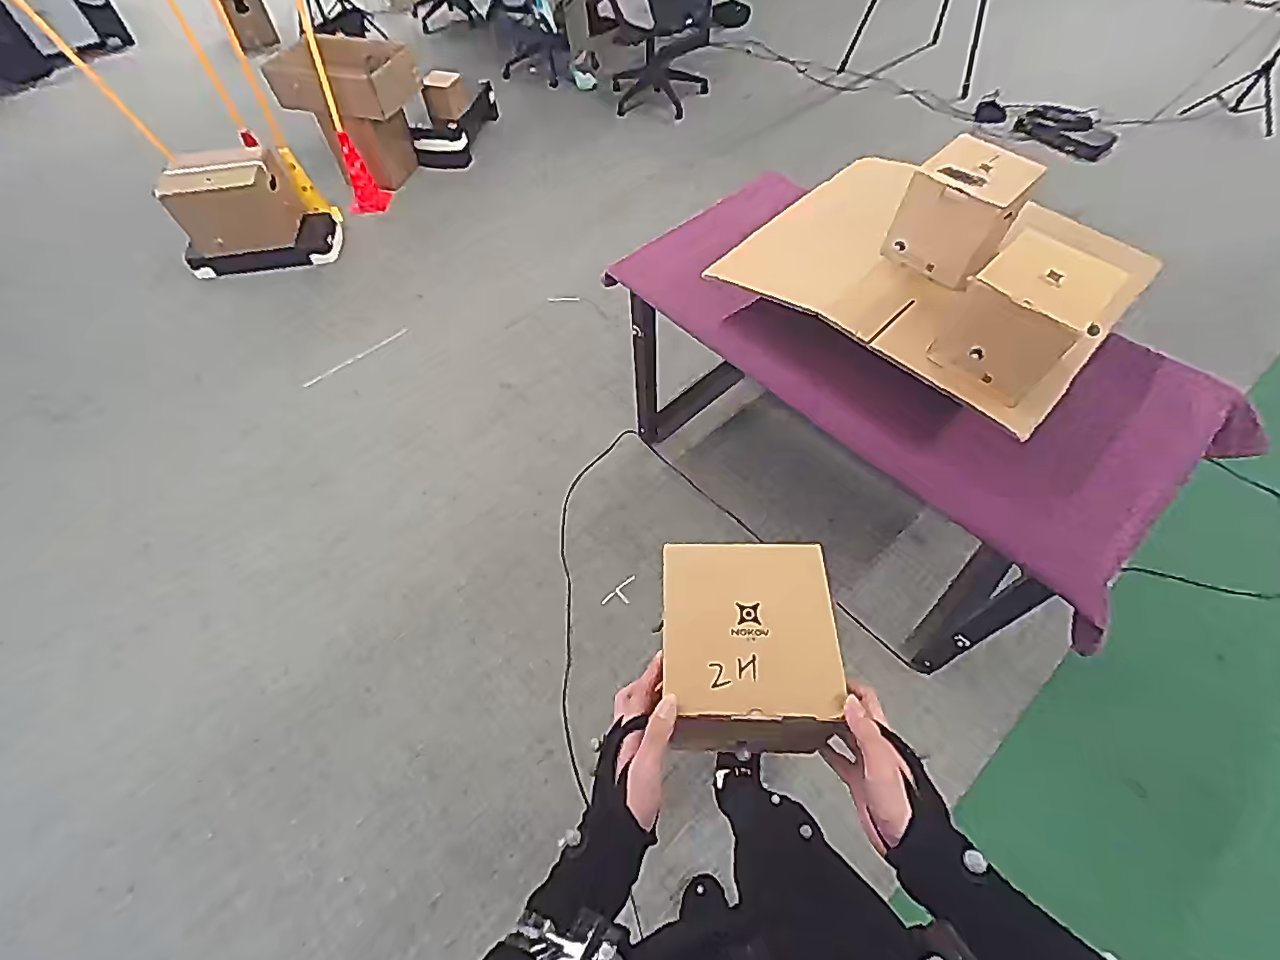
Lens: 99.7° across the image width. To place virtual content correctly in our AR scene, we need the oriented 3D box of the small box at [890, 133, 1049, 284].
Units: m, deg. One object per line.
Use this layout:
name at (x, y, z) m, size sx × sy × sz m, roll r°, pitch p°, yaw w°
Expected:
small box at (0.600, -0.503, 1.012) m, size 0.179 × 0.176 × 0.168 m, roll -40°, pitch 67°, yaw -21°

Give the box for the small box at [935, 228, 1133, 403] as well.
small box at (0.617, -0.261, 0.871) m, size 0.179 × 0.176 × 0.168 m, roll -41°, pitch 67°, yaw -20°
